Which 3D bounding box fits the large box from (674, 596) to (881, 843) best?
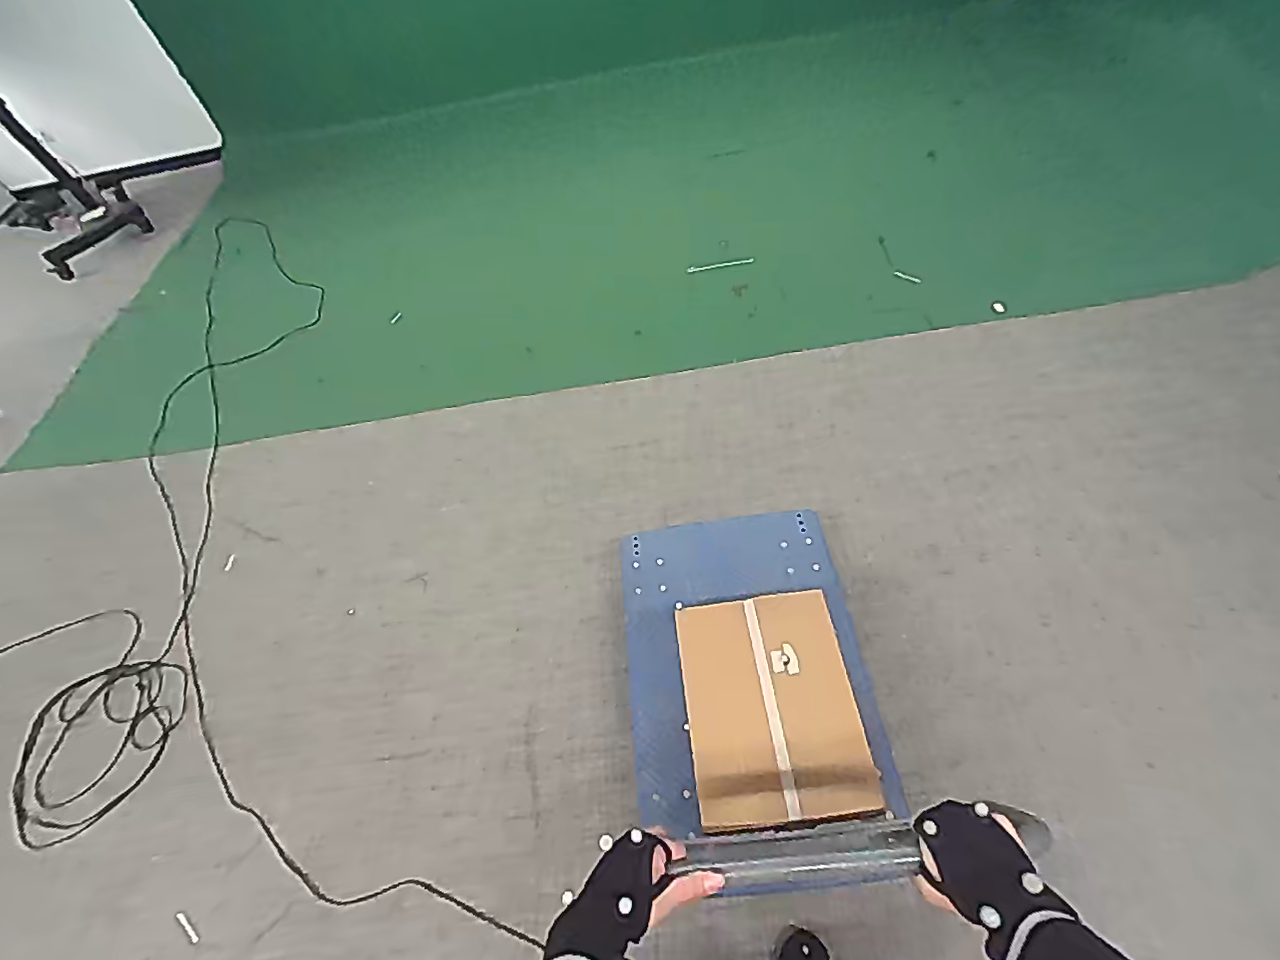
[{"bbox_3d":[0.265,0.514,1.155,0.320,0.320,0.408,-9,54,4],"label":"large box"}]
